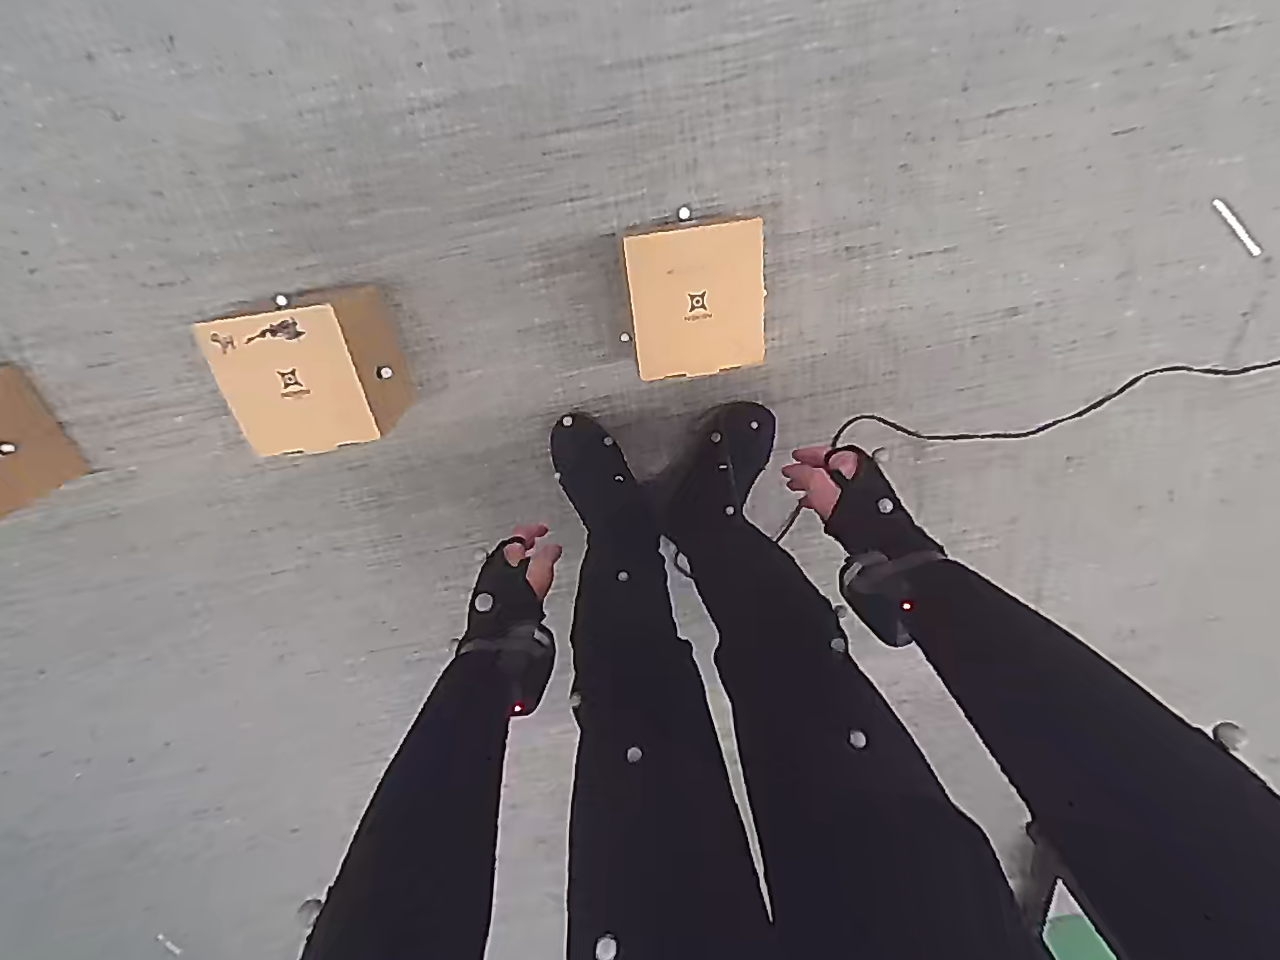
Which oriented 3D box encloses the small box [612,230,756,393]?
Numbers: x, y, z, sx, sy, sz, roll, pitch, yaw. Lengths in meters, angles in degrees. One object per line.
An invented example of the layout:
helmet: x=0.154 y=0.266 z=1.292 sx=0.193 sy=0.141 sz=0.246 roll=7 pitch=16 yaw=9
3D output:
small box: x=0.056 y=-0.239 z=0.748 sx=0.168 sy=0.176 sz=0.179 roll=-10 pitch=116 yaw=-1

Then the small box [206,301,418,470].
small box: x=-0.434 y=-0.137 z=0.756 sx=0.168 sy=0.176 sz=0.179 roll=-9 pitch=118 yaw=0
